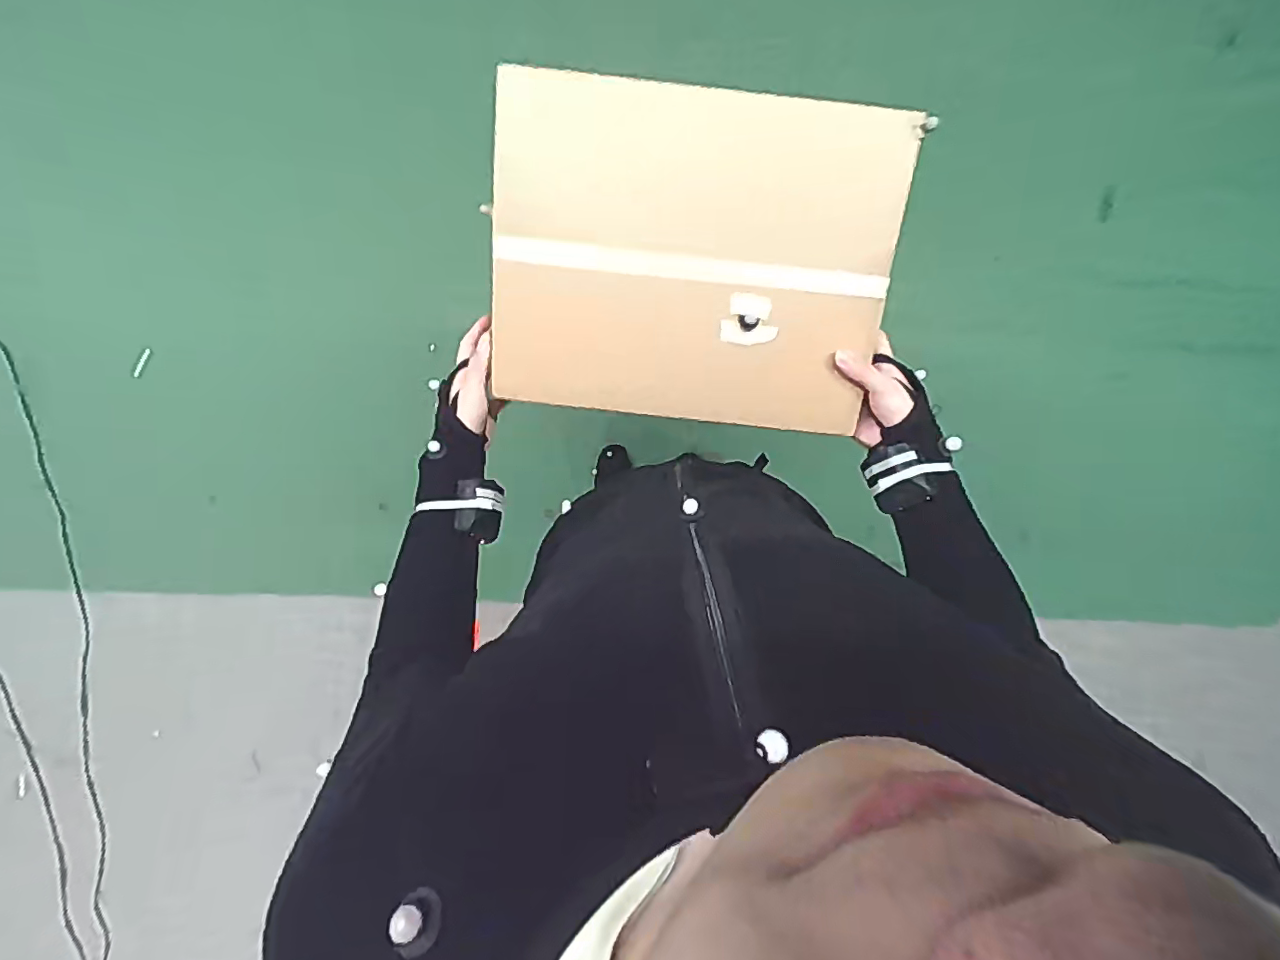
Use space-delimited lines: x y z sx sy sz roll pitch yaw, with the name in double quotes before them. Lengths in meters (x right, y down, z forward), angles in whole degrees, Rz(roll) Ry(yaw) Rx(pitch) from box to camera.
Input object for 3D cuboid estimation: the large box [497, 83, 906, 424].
"large box" 0.050 -0.264 0.705 0.408 0.320 0.320 5 108 -1
